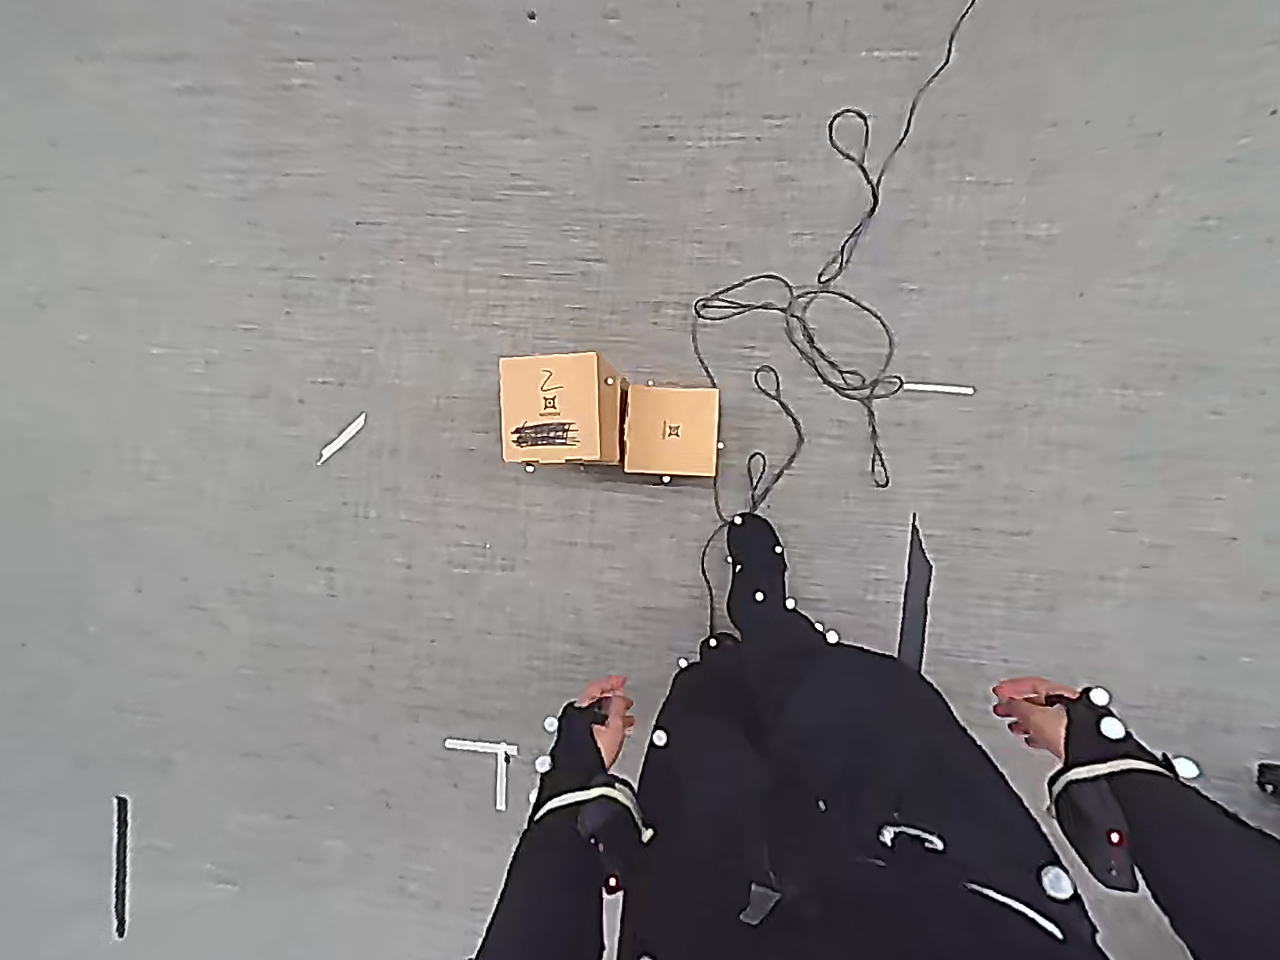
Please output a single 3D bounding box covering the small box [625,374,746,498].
[{"bbox_3d":[0.079,-0.082,1.025,0.168,0.176,0.179,27,105,-8],"label":"small box"}]
